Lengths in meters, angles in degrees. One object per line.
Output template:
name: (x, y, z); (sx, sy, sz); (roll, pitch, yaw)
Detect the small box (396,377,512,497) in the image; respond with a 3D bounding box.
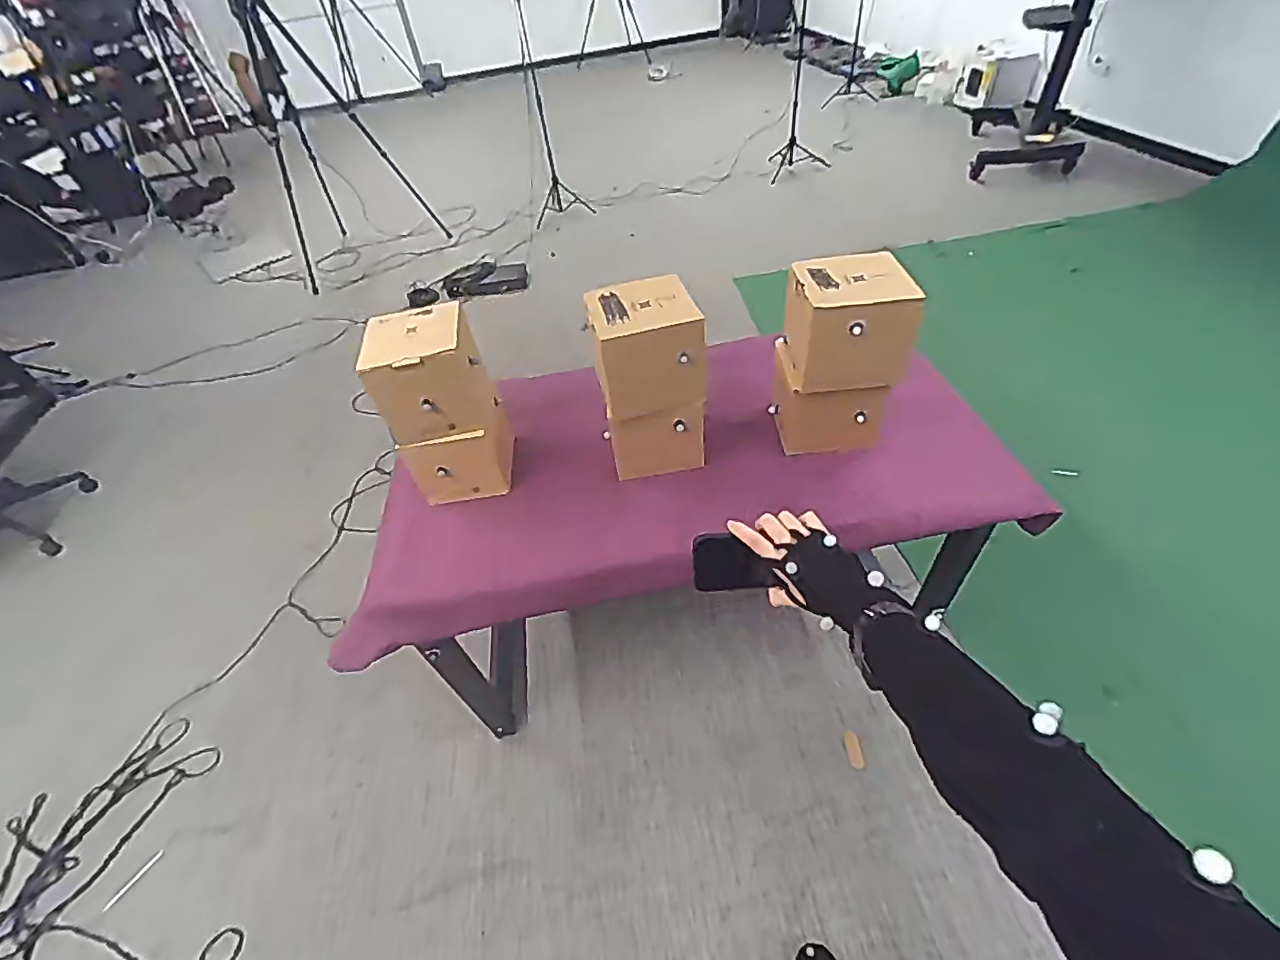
small box: (-0.365, -0.080, 1.096); (0.168, 0.176, 0.179); (-9, 46, 0)

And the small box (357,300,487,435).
small box: (-0.383, -0.197, 0.983); (0.168, 0.176, 0.179); (-12, 47, -4)

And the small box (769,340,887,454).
small box: (0.361, -0.168, 1.075); (0.179, 0.176, 0.168); (-4, 46, 4)

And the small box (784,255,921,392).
small box: (0.355, -0.269, 0.946); (0.179, 0.176, 0.168); (-4, 46, 3)

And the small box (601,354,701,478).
small box: (0.023, -0.126, 1.082); (0.179, 0.176, 0.168); (-9, 46, 0)
